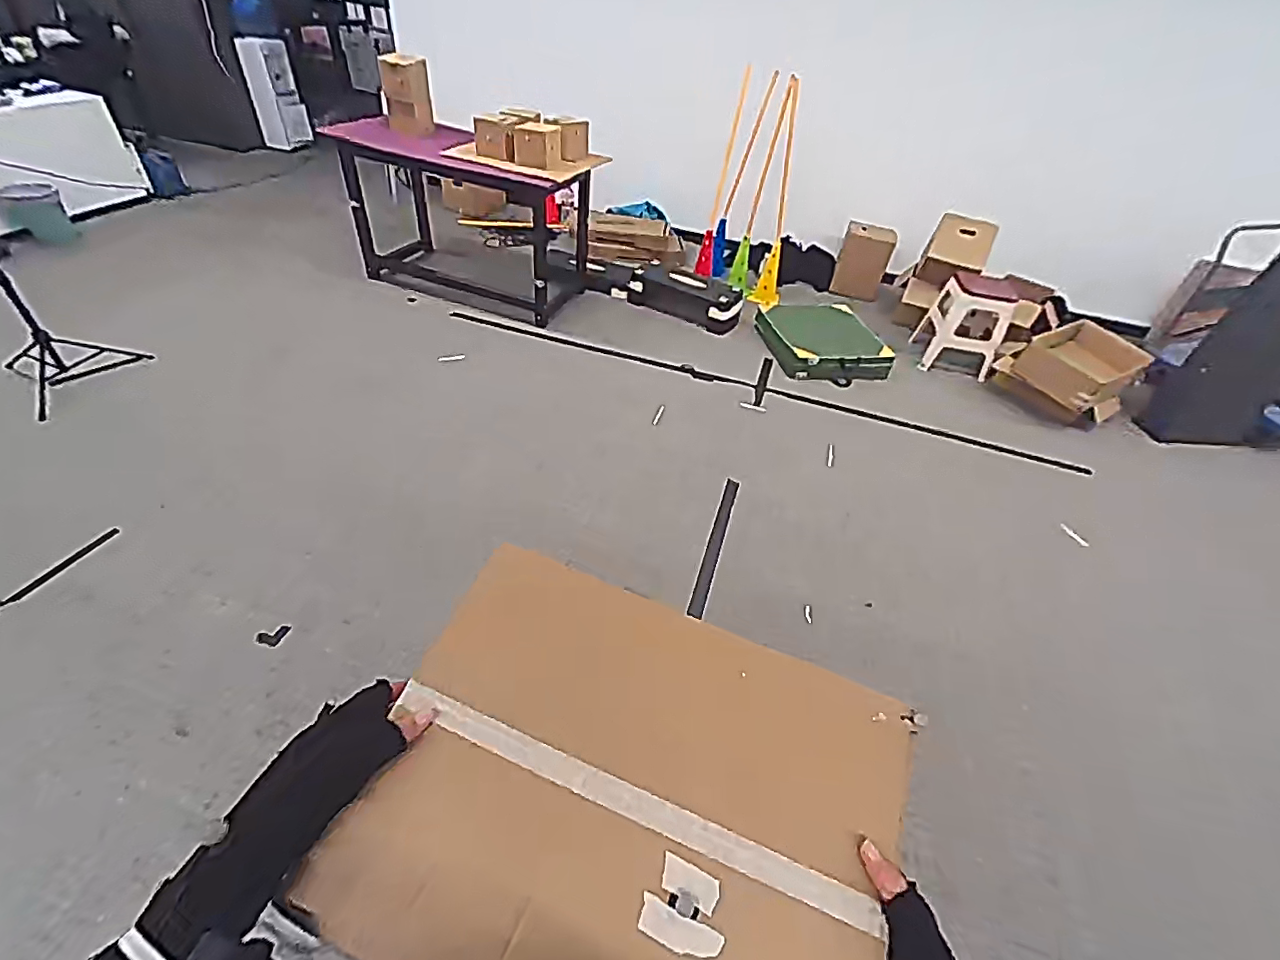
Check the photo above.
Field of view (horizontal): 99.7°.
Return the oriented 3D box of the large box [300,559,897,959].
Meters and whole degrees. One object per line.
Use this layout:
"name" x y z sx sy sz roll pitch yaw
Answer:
"large box" -0.017 0.341 0.557 0.408 0.320 0.320 20 58 11
